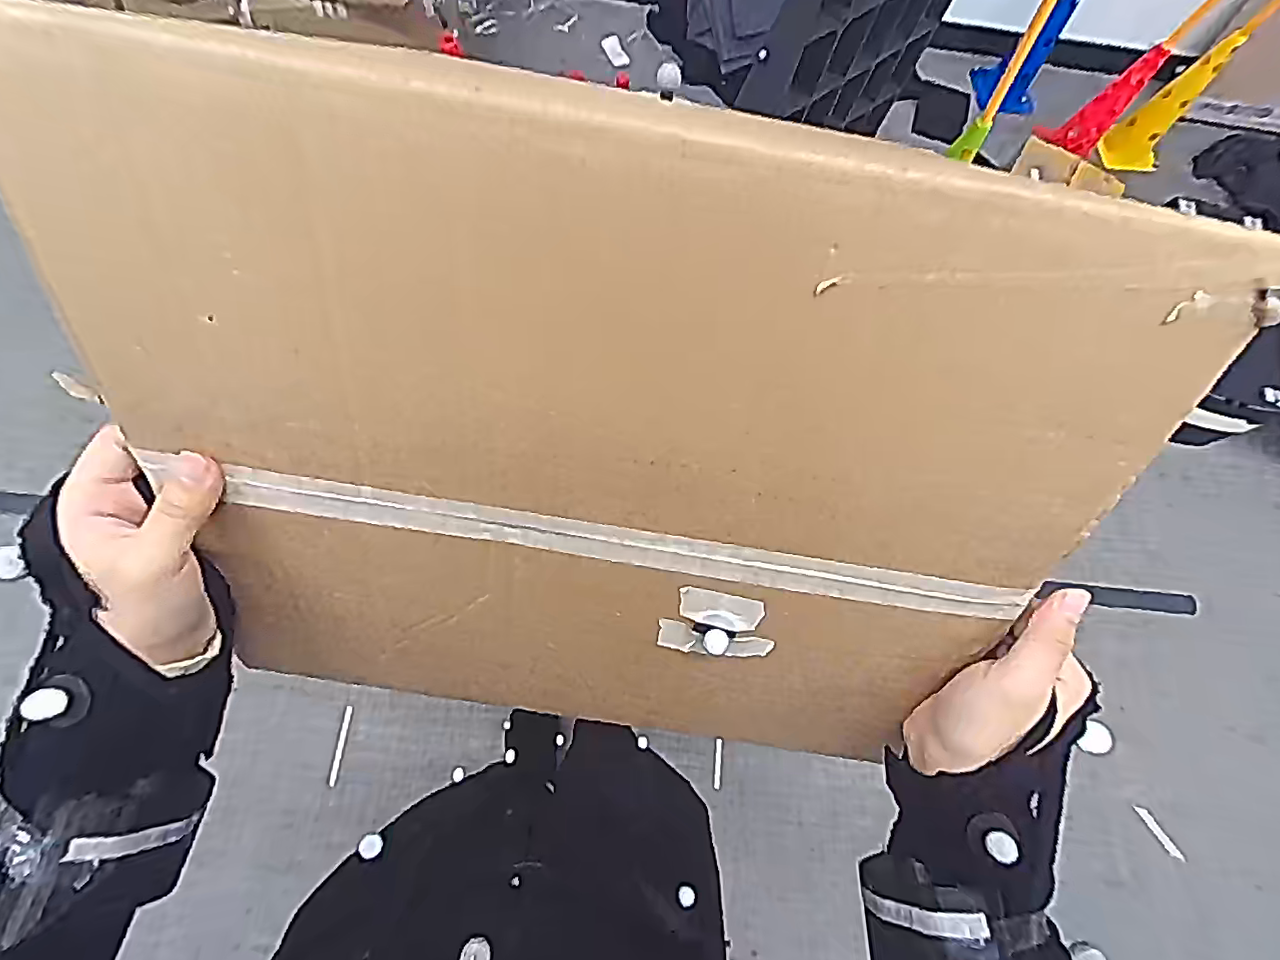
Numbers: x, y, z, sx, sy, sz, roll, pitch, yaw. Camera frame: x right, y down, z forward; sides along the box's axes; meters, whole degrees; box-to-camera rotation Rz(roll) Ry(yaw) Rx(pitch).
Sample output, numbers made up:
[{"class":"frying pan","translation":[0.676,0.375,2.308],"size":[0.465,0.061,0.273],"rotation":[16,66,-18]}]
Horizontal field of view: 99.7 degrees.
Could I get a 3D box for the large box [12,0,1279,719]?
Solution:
[{"class":"large box","translation":[0.001,-0.087,0.364],"size":[0.408,0.320,0.320],"rotation":[9,37,-2]}]
